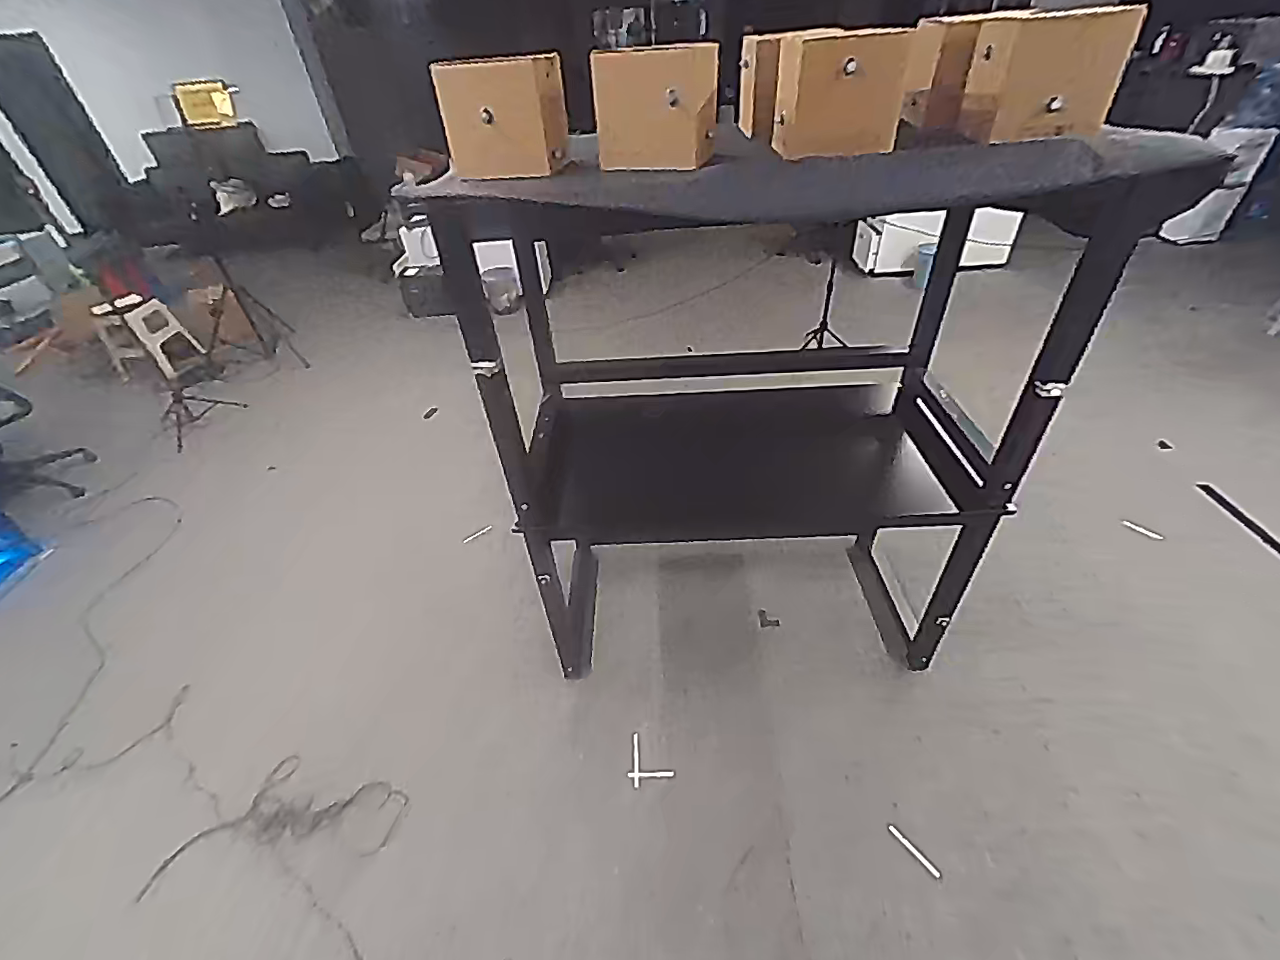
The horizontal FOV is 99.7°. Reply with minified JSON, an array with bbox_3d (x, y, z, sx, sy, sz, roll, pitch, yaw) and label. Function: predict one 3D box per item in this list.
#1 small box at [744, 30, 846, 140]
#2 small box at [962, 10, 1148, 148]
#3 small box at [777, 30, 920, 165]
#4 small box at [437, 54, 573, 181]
[{"bbox_3d":[0.312,-0.818,1.122,0.168,0.176,0.179,-3,40,3],"label":"small box"},{"bbox_3d":[0.668,-0.665,0.903,0.168,0.176,0.179,2,40,9],"label":"small box"},{"bbox_3d":[0.345,-0.657,0.930,0.179,0.176,0.168,-3,40,3],"label":"small box"},{"bbox_3d":[-0.226,-0.646,0.967,0.179,0.176,0.168,2,39,8],"label":"small box"}]
